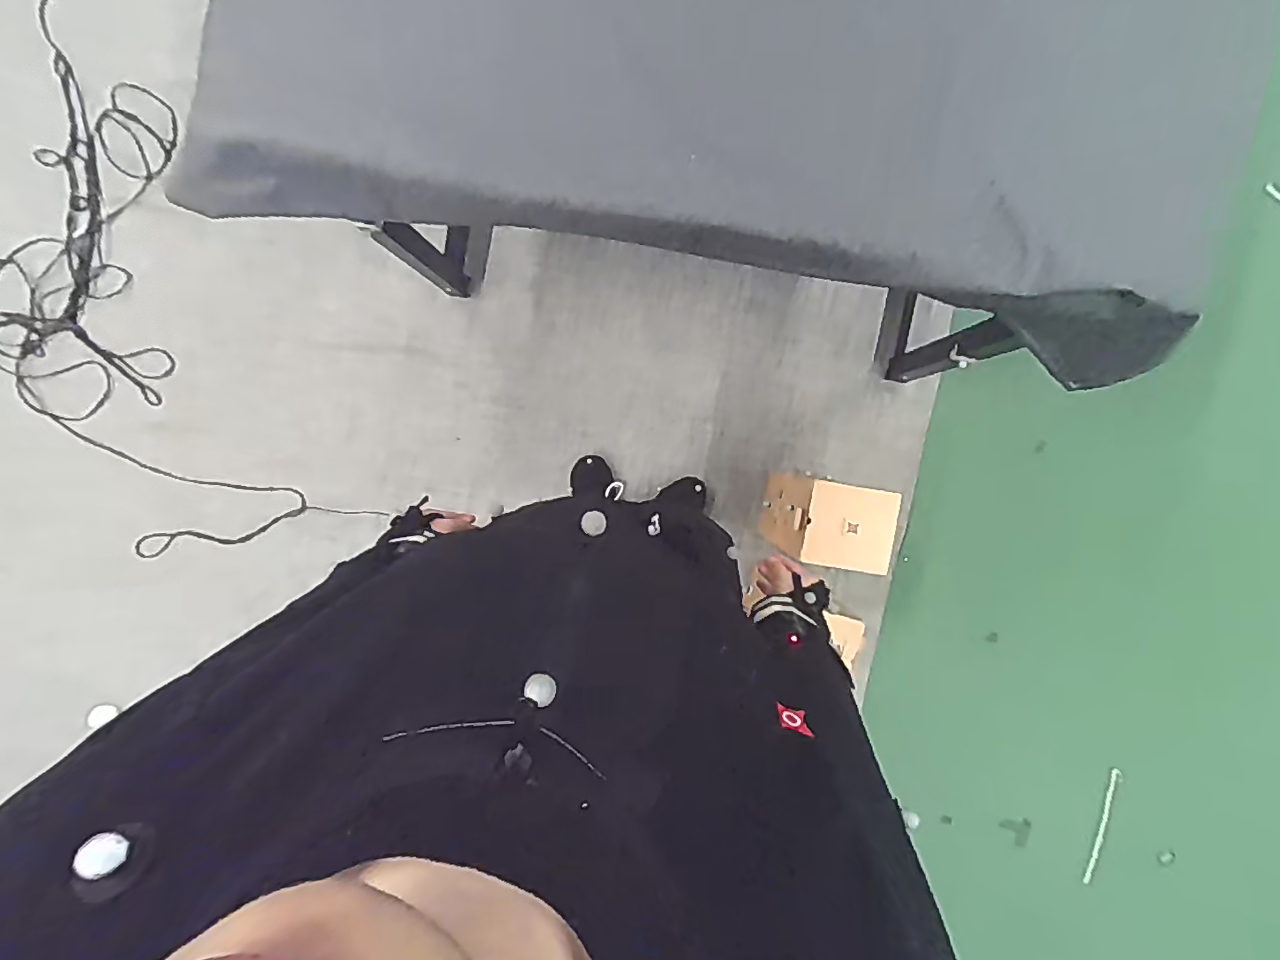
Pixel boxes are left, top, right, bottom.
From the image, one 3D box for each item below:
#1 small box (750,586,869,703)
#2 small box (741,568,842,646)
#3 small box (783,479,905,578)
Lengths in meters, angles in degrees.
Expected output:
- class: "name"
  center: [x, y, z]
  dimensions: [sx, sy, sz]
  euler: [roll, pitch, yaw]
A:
- class: "small box"
  center: [0.346, 0.334, 1.136]
  dimensions: [0.179, 0.176, 0.168]
  euler: [15, 92, 2]
- class: "small box"
  center: [0.355, 0.321, 1.300]
  dimensions: [0.179, 0.176, 0.168]
  euler: [15, 92, 3]
- class: "small box"
  center: [0.413, 0.092, 1.123]
  dimensions: [0.179, 0.176, 0.168]
  euler: [9, 93, 2]
